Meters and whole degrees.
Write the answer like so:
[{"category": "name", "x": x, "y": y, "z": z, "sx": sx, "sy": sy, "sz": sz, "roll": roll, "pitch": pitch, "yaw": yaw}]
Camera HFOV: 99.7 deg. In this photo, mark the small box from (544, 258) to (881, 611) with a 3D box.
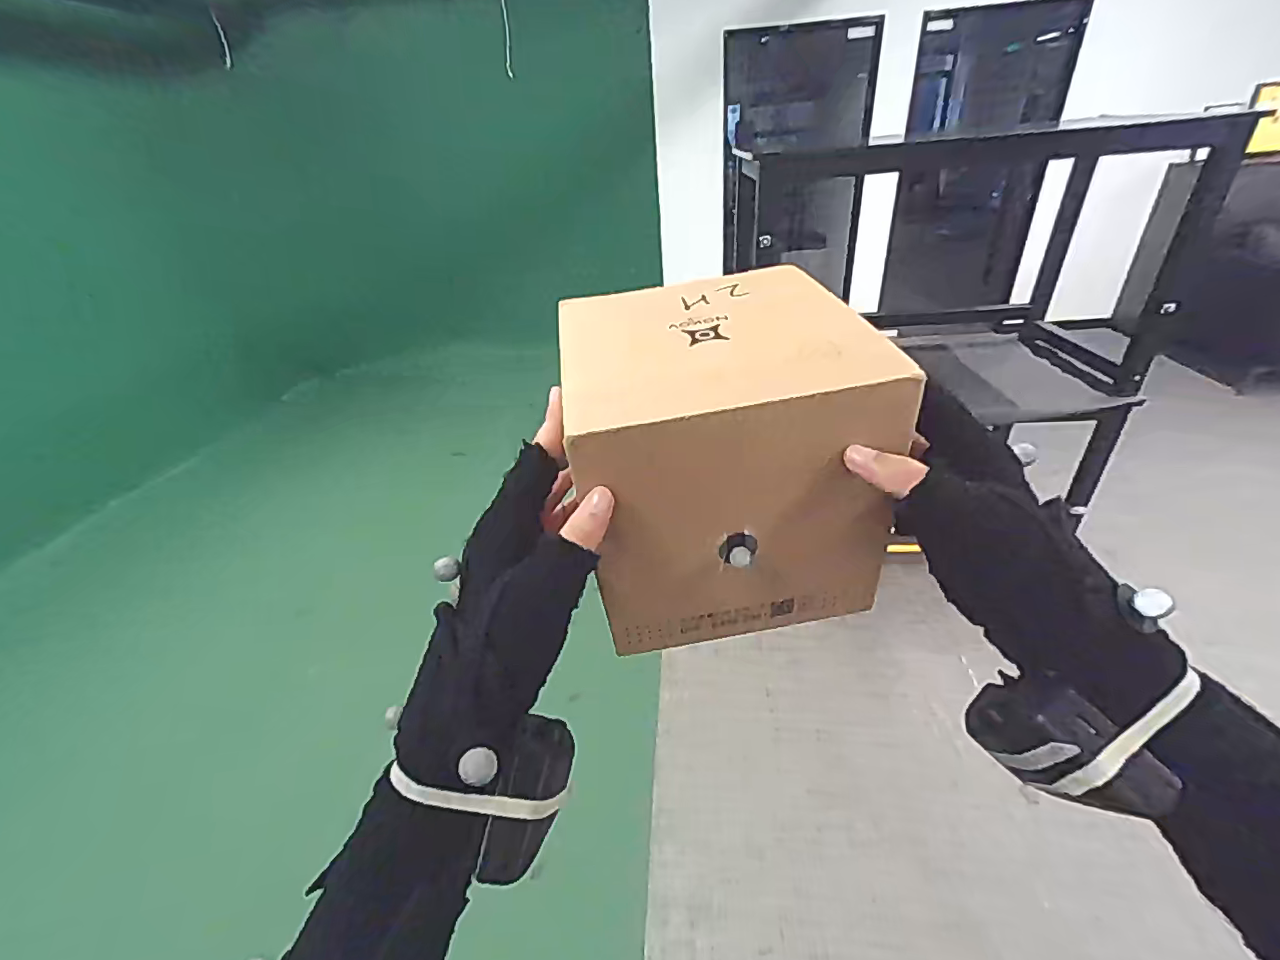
[{"category": "small box", "x": 0.036, "y": -0.030, "z": 0.366, "sx": 0.168, "sy": 0.176, "sz": 0.179, "roll": -10, "pitch": 36, "yaw": -1}]
